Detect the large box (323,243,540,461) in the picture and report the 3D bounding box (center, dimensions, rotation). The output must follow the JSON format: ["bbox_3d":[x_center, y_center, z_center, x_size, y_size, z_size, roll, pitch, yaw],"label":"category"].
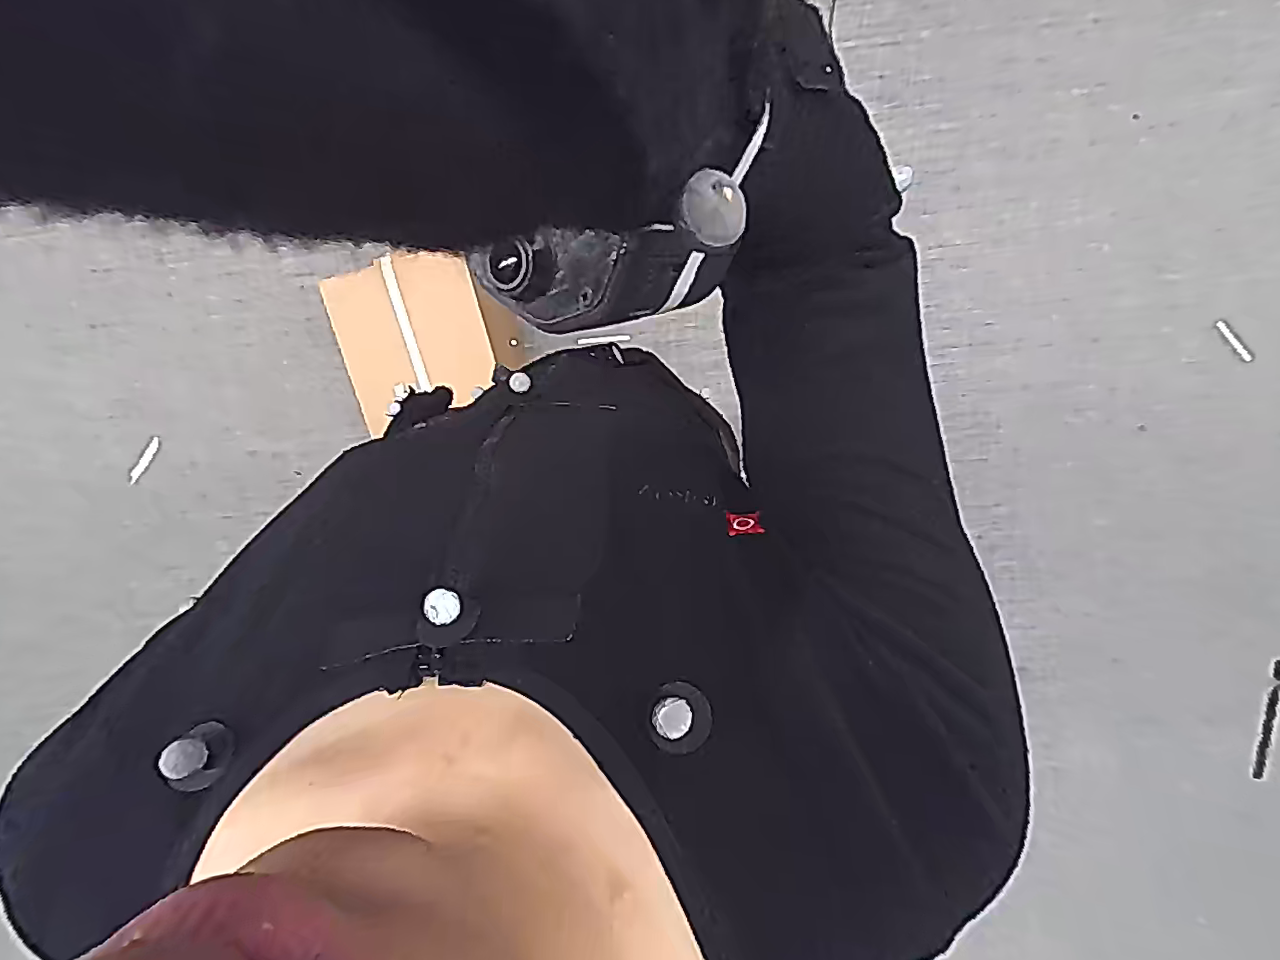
[{"bbox_3d":[-0.466,-0.298,1.301,0.320,0.320,0.408,-13,103,5],"label":"large box"}]
